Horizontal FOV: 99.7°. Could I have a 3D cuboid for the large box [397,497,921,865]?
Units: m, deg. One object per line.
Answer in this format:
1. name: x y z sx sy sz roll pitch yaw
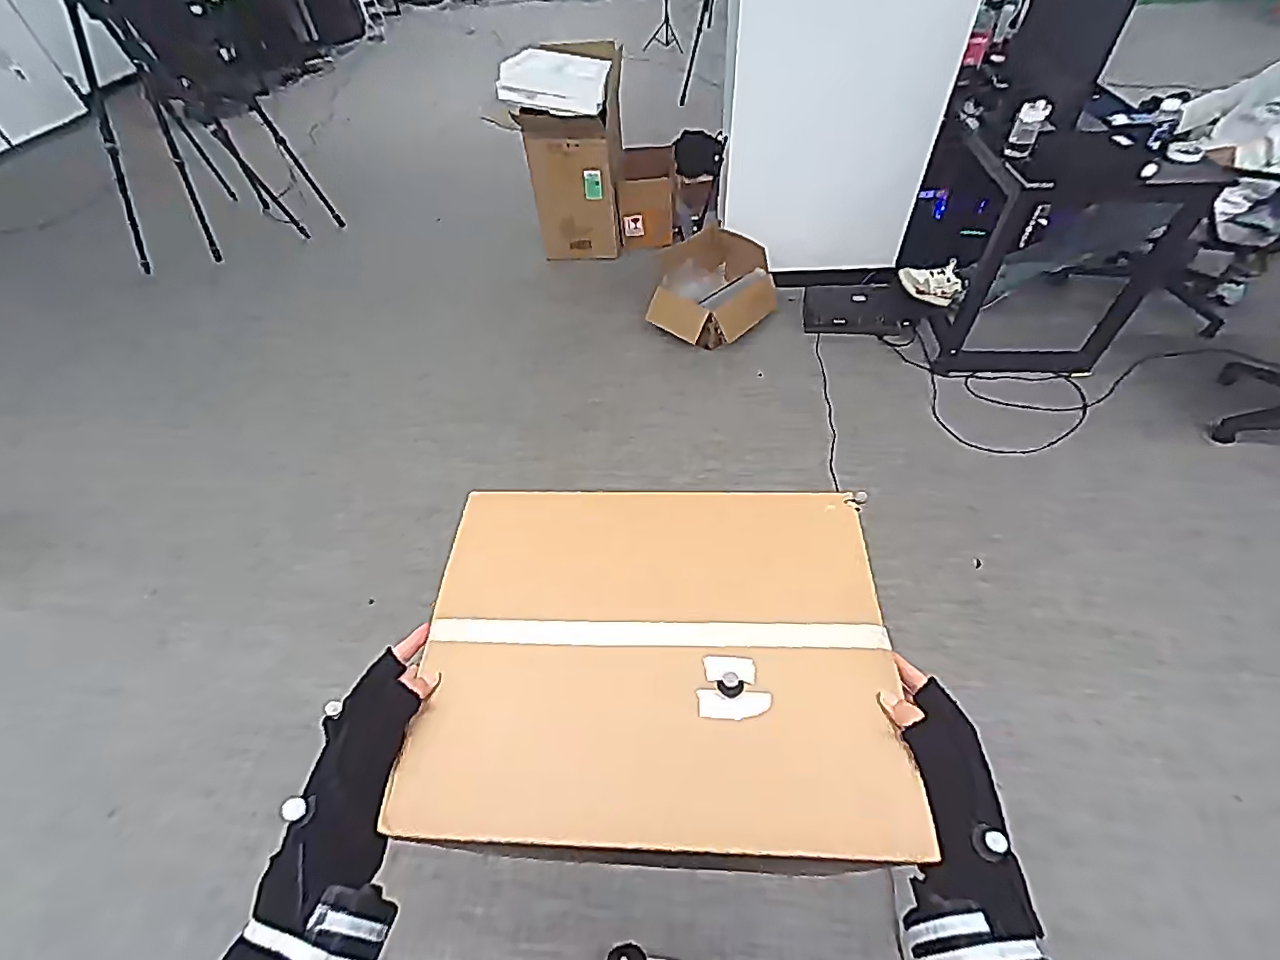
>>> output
1. large box: 0.020 0.232 0.610 0.408 0.320 0.320 0 52 4
